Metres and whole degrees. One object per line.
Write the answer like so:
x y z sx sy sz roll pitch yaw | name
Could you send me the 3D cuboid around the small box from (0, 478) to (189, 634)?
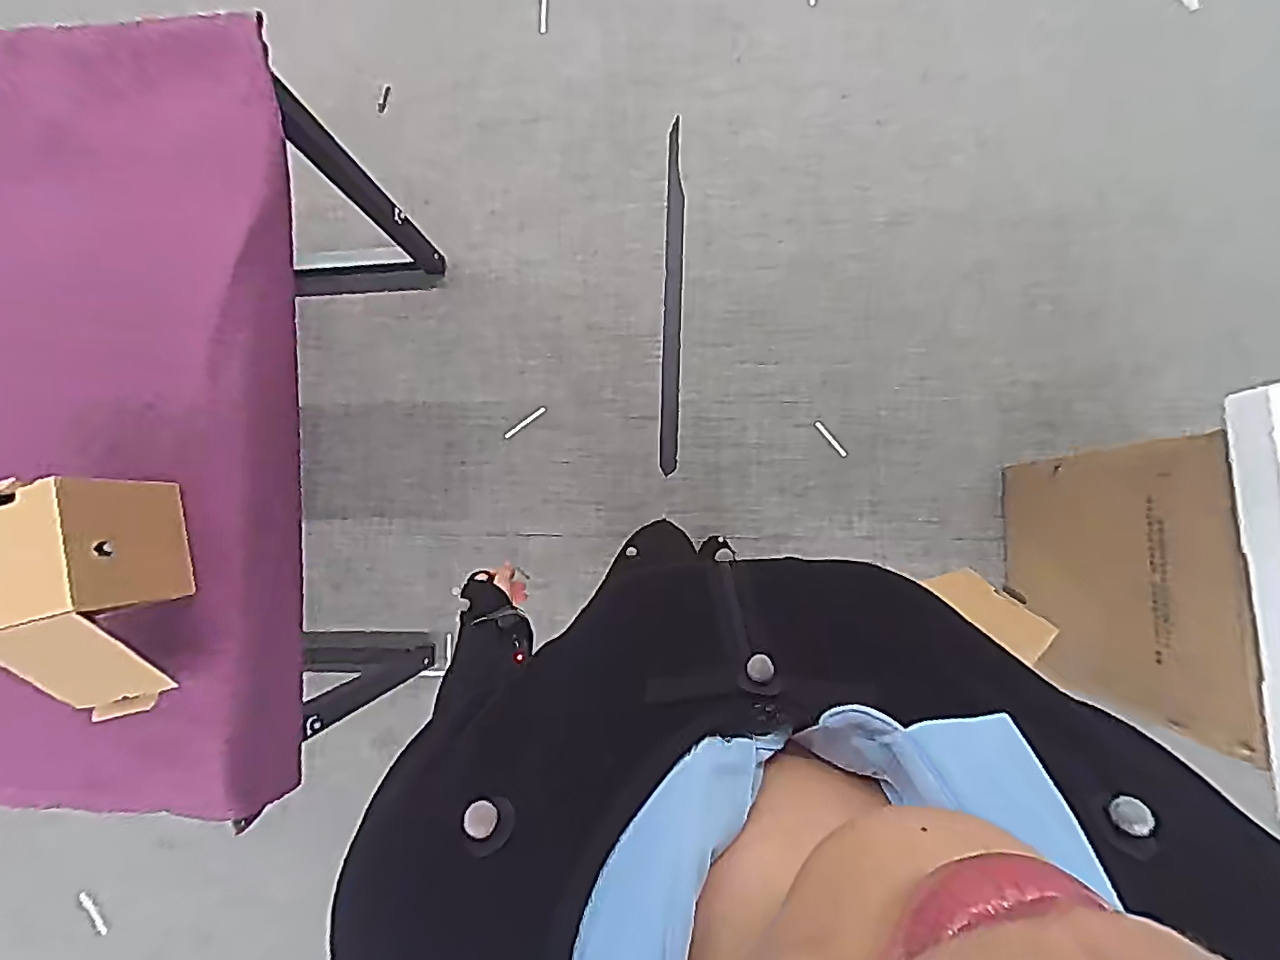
-0.775 0.102 0.749 0.168 0.176 0.179 -13 84 4 | small box
